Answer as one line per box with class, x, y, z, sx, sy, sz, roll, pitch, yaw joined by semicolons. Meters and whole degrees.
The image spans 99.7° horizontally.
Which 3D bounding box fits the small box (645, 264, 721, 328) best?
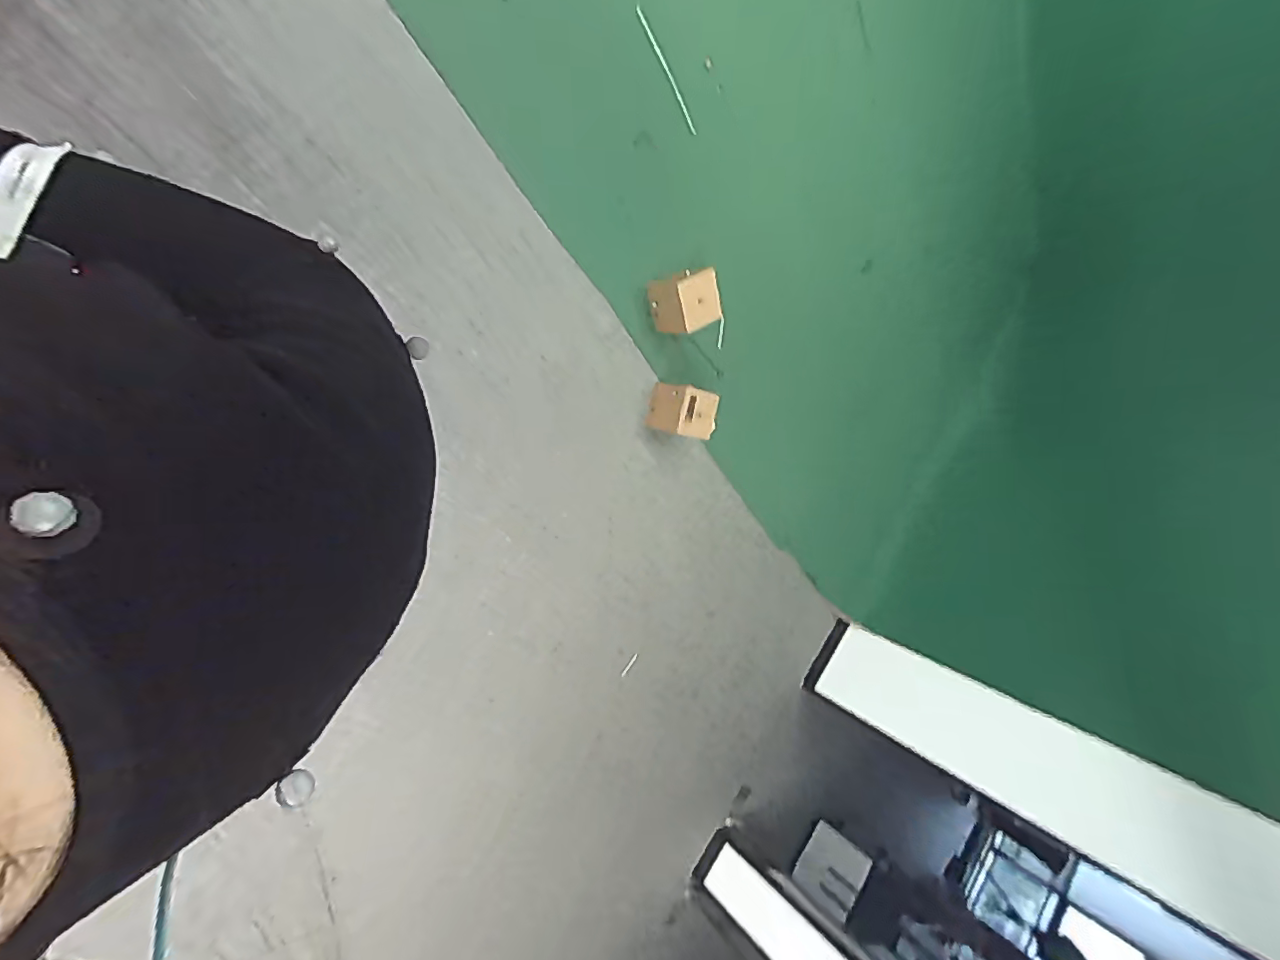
small box;0.146;-0.629;1.845;0.179;0.176;0.168;-33;123;-28
